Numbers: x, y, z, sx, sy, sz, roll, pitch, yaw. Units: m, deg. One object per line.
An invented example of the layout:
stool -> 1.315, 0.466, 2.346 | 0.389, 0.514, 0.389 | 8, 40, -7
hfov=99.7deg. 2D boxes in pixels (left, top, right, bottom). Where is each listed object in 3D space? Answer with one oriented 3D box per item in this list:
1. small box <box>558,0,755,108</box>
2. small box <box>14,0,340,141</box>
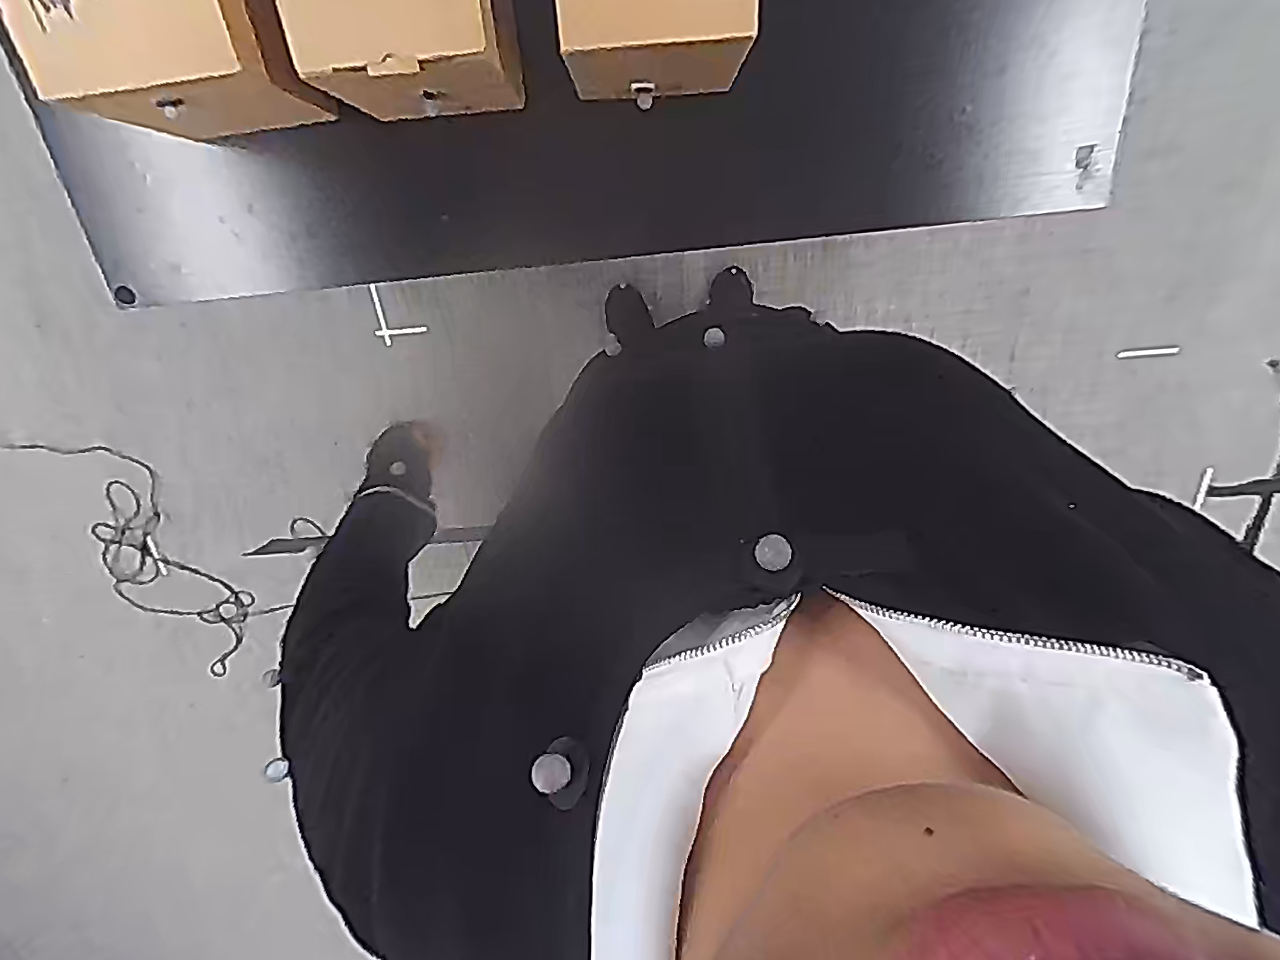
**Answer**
small box -> 0.011, -0.473, 0.500 | 0.168, 0.176, 0.179 | -4, 113, 3
small box -> -0.428, -0.438, 0.509 | 0.179, 0.176, 0.168 | -7, 112, 2
